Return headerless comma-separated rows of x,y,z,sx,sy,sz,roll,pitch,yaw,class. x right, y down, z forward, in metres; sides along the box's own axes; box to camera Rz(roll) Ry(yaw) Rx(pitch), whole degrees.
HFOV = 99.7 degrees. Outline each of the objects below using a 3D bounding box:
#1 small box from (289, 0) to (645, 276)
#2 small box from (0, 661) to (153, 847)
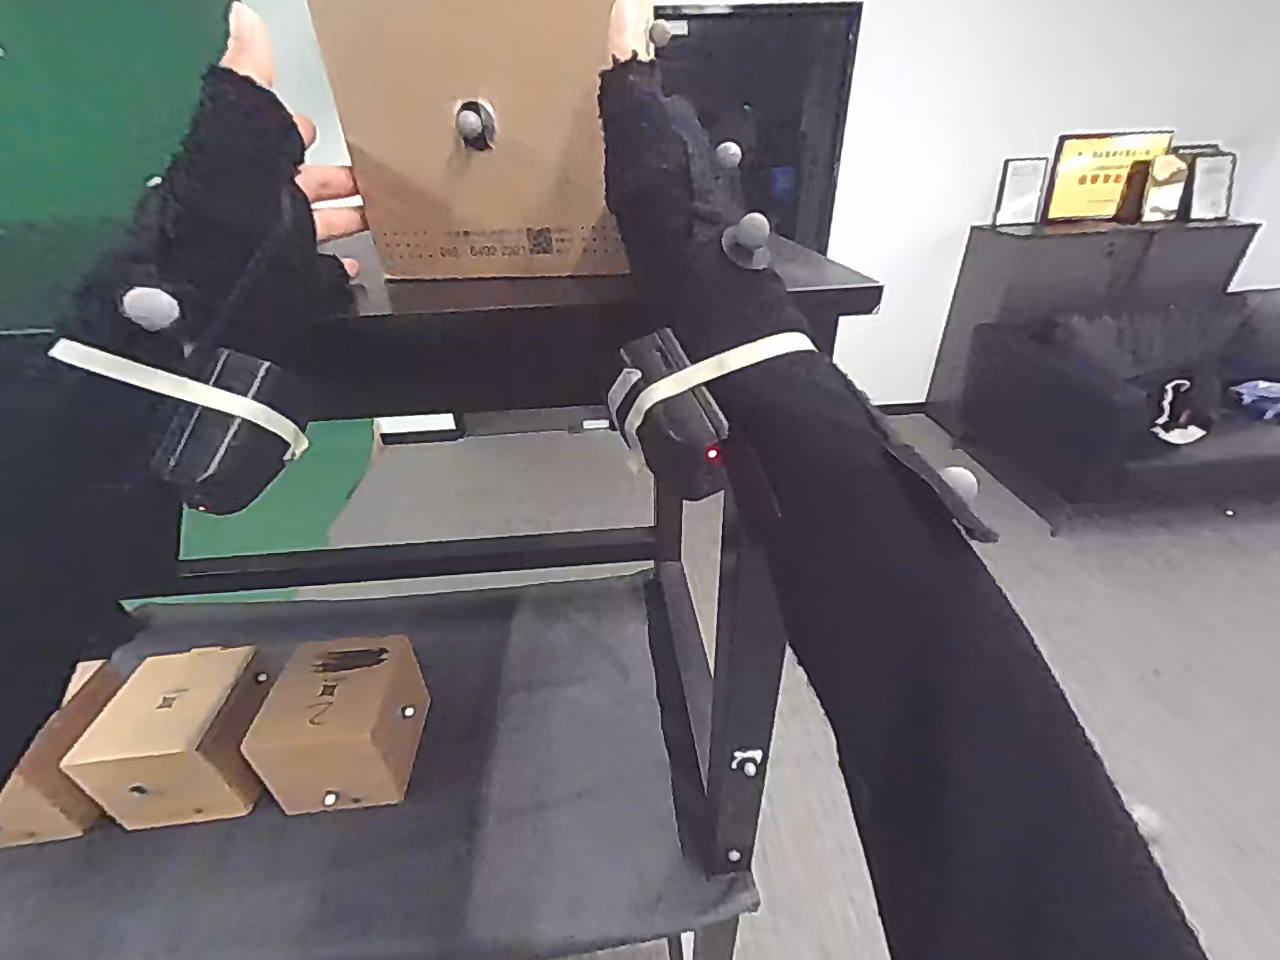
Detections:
-0.085,-0.238,0.363,0.168,0.176,0.179,1,32,5,small box
-0.868,0.394,0.783,0.168,0.176,0.179,-5,32,-5,small box
